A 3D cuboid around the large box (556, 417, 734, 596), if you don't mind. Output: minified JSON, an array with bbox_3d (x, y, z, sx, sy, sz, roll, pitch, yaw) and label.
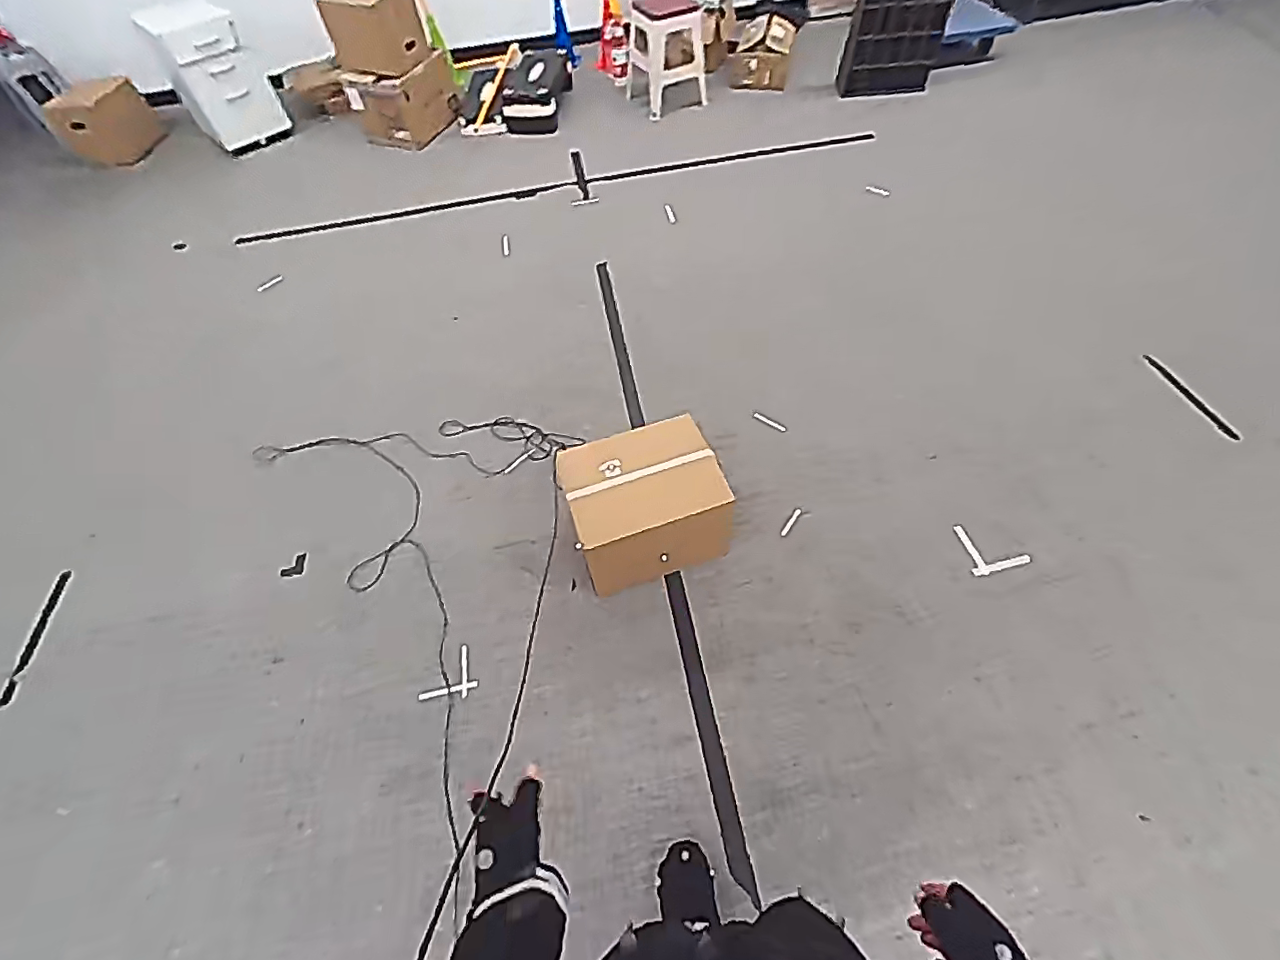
[{"bbox_3d":[0.015,0.082,1.538,0.408,0.320,0.320,-18,56,-7],"label":"large box"}]
